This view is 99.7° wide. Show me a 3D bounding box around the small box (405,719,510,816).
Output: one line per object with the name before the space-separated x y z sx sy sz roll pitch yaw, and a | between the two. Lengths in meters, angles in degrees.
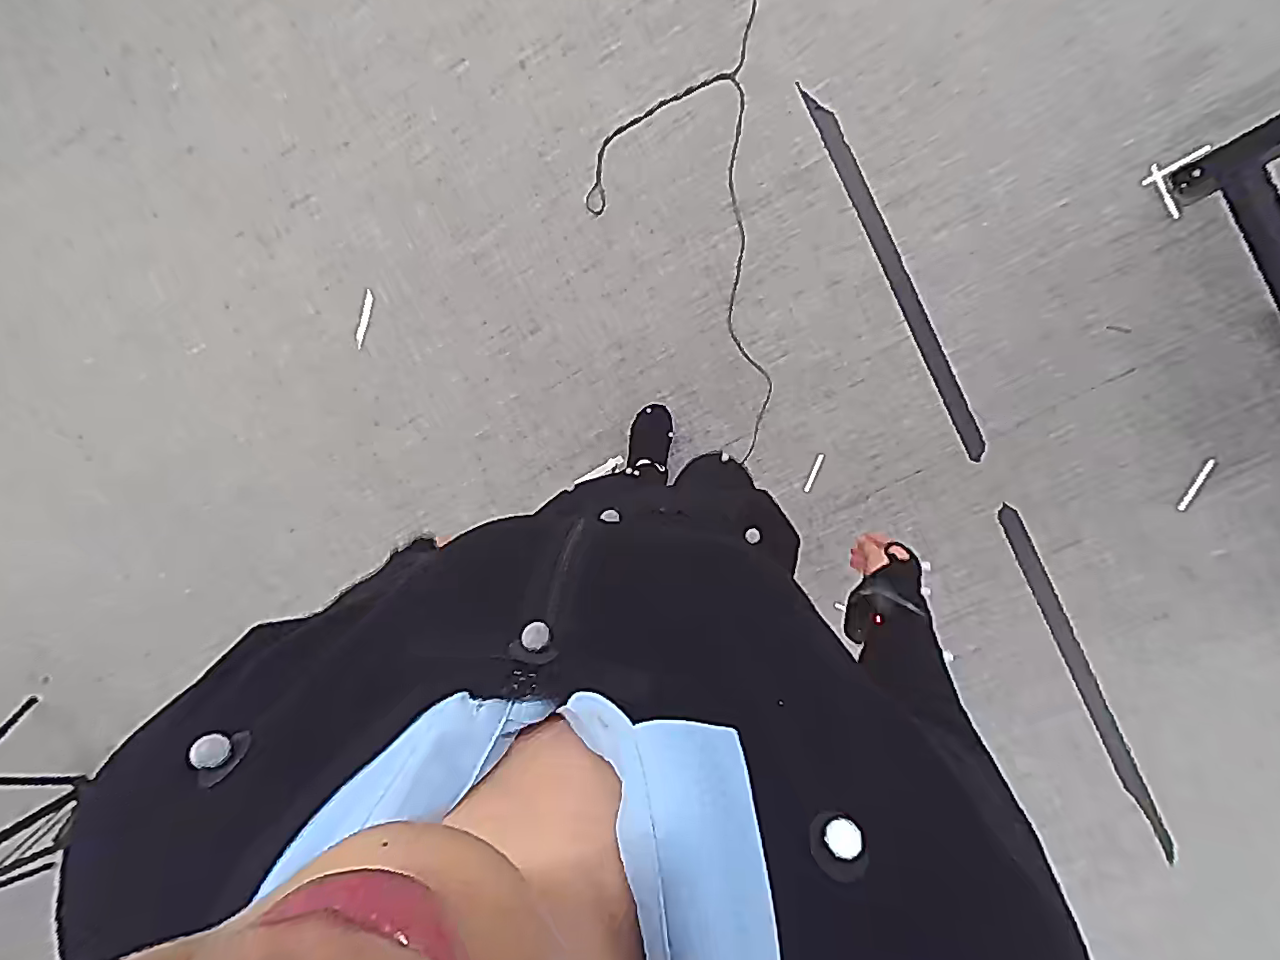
small box | -0.445 0.733 1.358 0.179 0.176 0.168 -20 93 9

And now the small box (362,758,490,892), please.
small box | -0.464 0.756 1.198 0.179 0.176 0.168 -20 94 8
